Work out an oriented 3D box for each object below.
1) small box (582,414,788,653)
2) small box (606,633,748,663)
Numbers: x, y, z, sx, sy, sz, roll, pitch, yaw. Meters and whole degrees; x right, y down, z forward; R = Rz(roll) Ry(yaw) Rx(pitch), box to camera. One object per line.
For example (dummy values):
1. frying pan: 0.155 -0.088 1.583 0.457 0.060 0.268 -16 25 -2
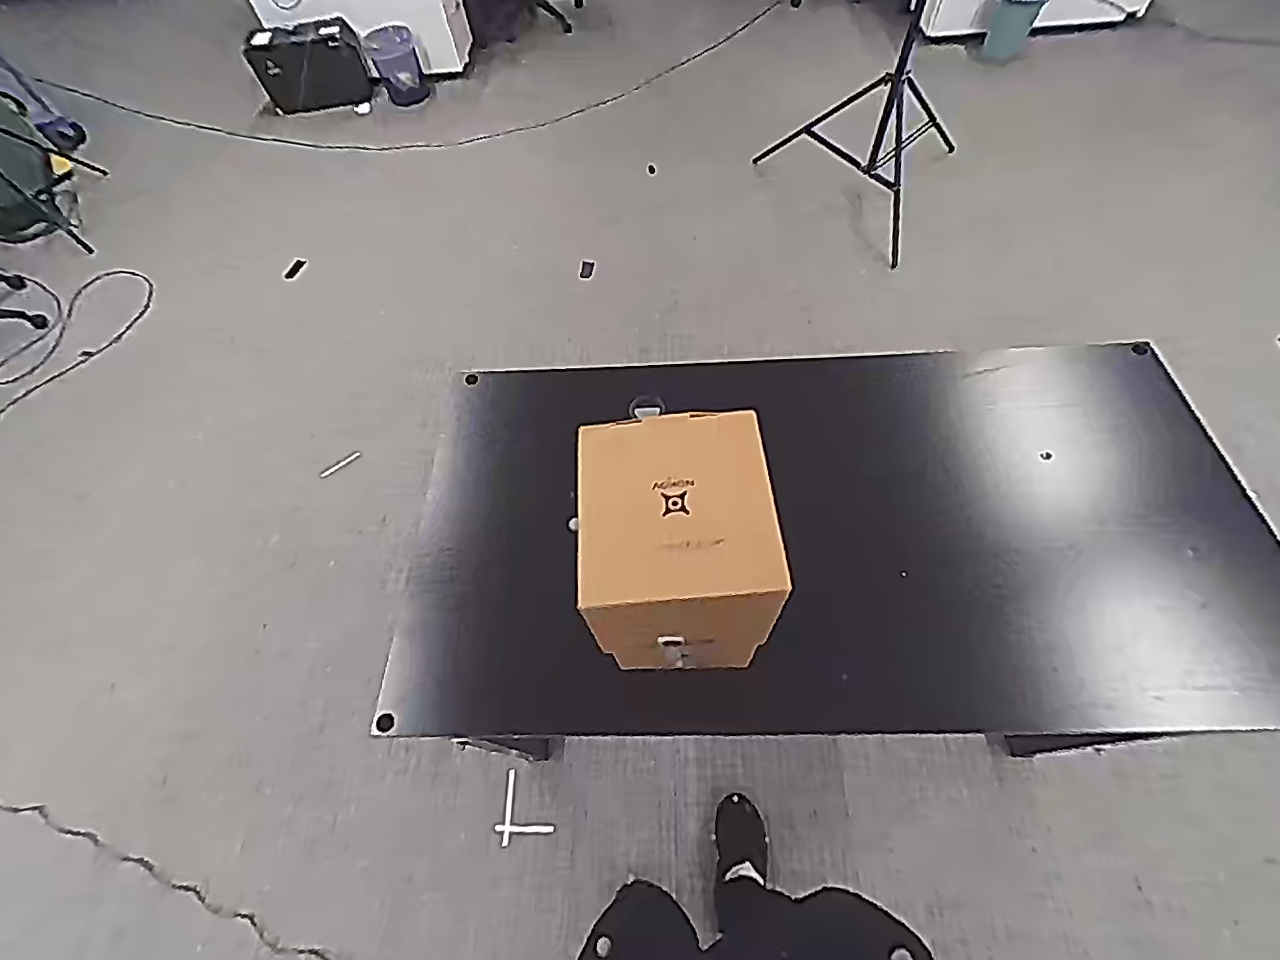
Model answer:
1. small box: 0.036 0.059 0.535 0.168 0.176 0.179 -6 60 2
2. small box: 0.050 0.129 0.682 0.168 0.176 0.179 -2 59 3
